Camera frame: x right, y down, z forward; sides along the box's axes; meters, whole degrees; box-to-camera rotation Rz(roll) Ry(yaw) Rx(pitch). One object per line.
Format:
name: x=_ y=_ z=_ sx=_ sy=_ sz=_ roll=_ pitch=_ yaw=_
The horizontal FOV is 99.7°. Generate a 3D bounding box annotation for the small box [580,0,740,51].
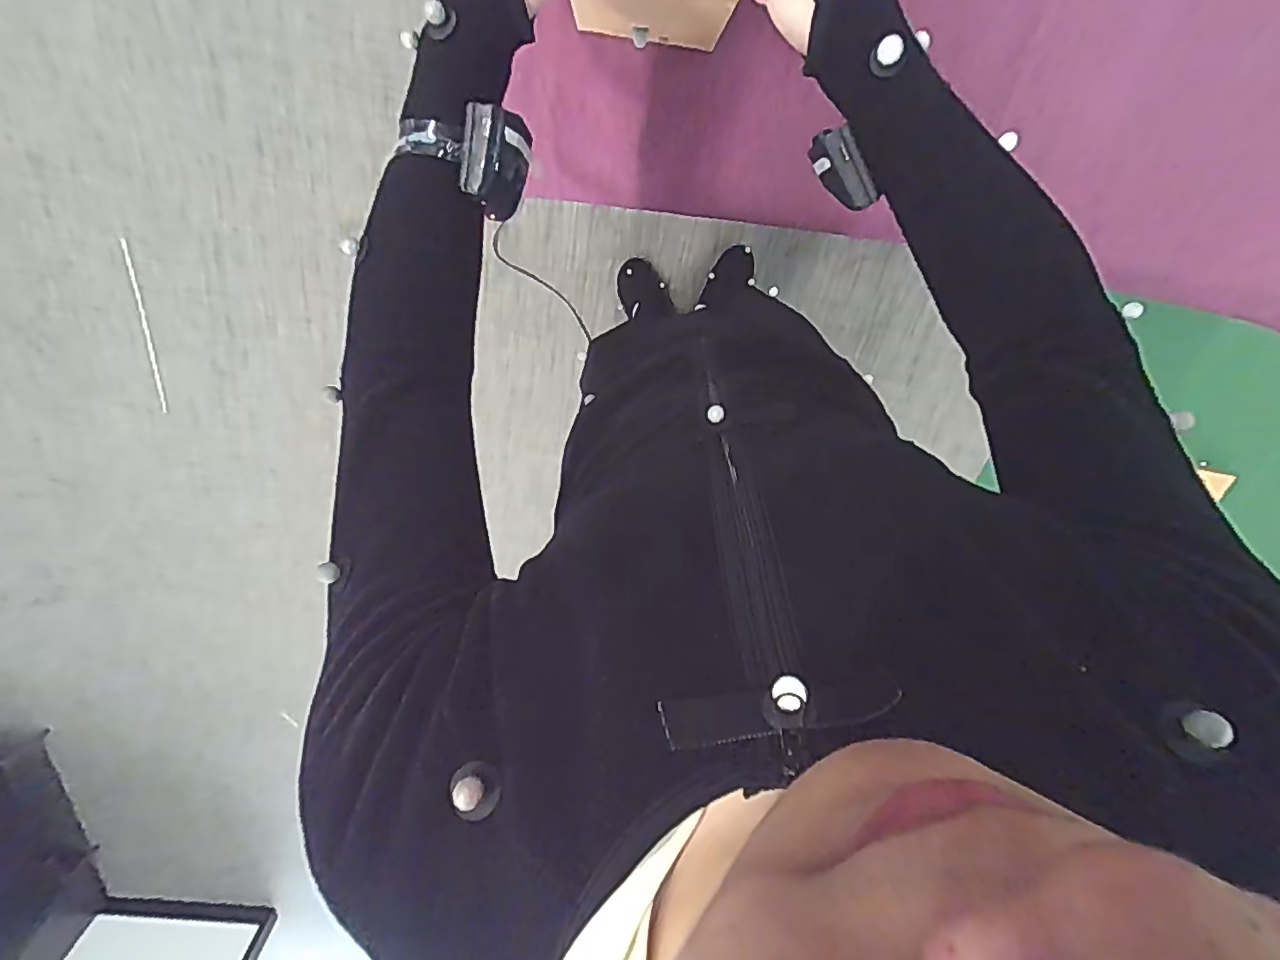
small box: x=0.023 y=-0.569 z=0.539 sx=0.168 sy=0.176 sz=0.179 roll=6 pitch=117 yaw=-4

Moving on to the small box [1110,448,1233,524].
small box: x=1.629 y=0.013 z=1.673 sx=0.179 sy=0.176 sz=0.168 roll=9 pitch=115 yaw=-6
